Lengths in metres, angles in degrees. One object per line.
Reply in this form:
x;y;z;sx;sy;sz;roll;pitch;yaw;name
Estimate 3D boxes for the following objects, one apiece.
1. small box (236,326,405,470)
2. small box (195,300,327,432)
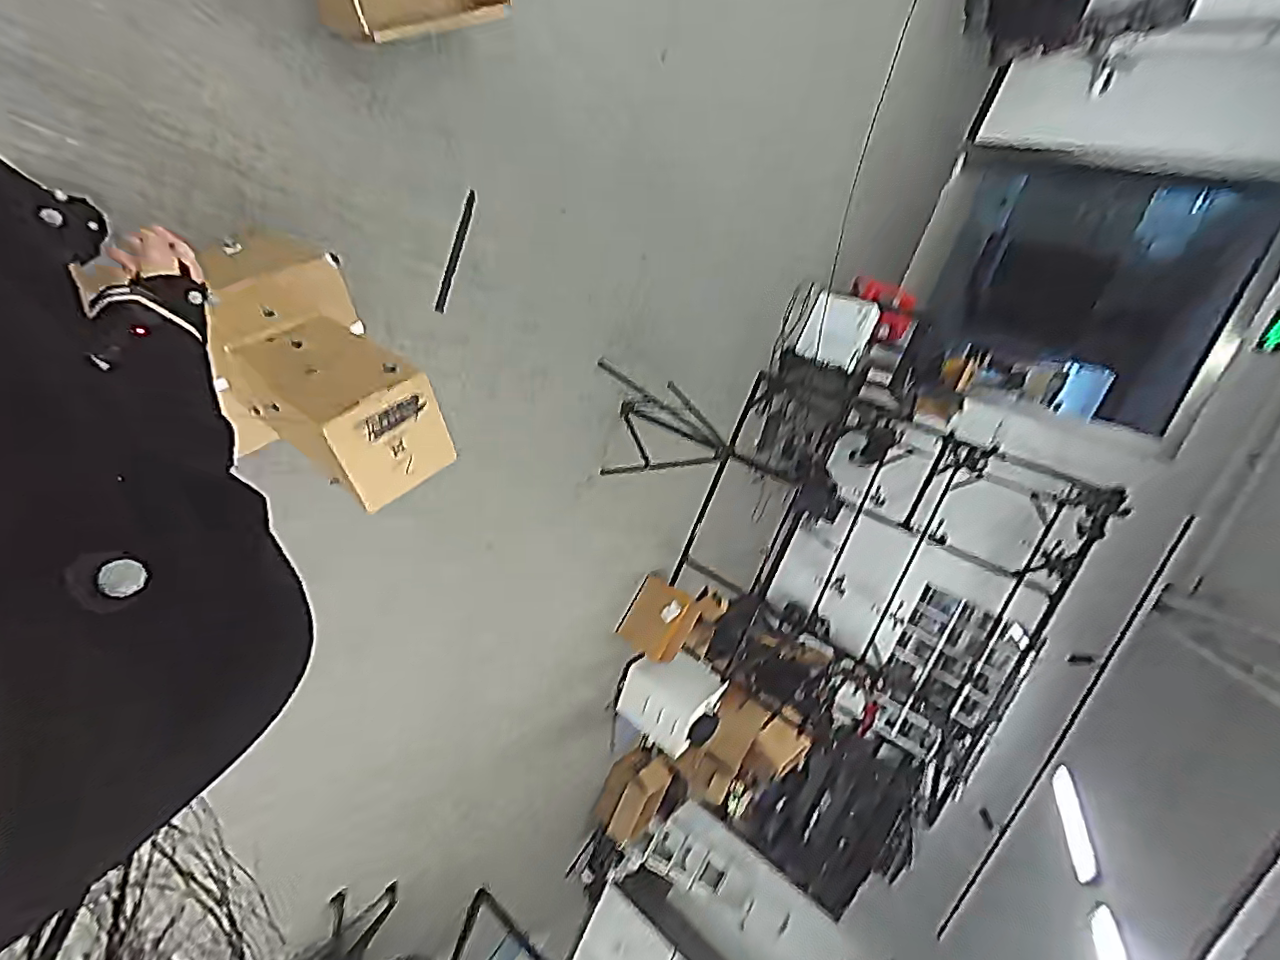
-0.551;-0.152;0.939;0.168;0.176;0.179;-39;142;-34;small box
-0.679;-0.223;1.013;0.168;0.176;0.179;-40;143;-34;small box
